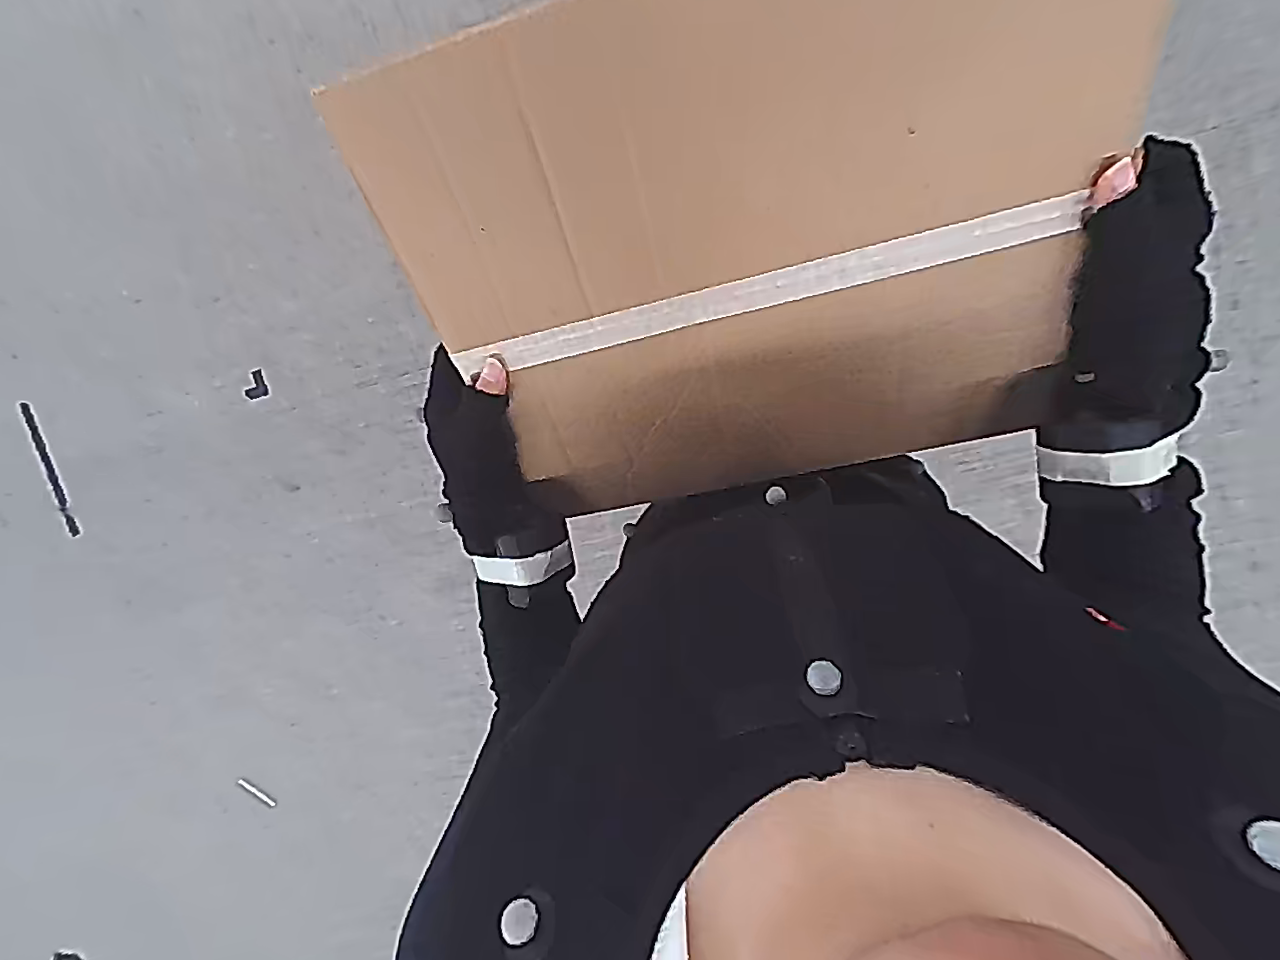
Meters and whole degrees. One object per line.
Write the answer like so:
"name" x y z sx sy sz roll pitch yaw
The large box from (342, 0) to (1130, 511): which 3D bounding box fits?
"large box" 0.067 -0.220 0.462 0.408 0.320 0.320 -11 130 10
